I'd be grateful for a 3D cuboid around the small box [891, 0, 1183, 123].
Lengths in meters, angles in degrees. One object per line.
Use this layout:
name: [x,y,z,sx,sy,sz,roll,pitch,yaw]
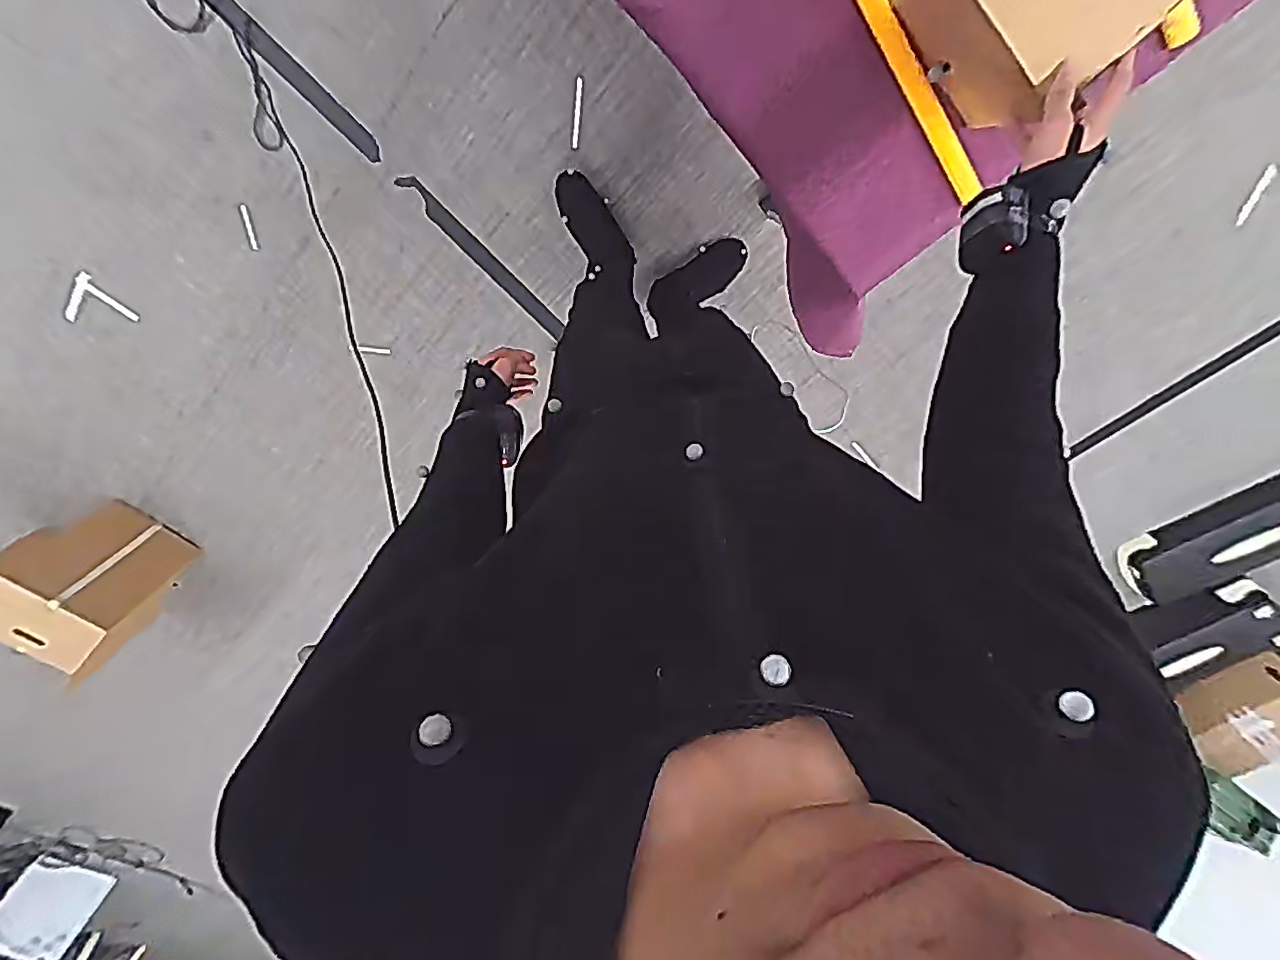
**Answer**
small box: [0.383,-0.483,0.521,0.179,0.176,0.168,38,115,-19]
